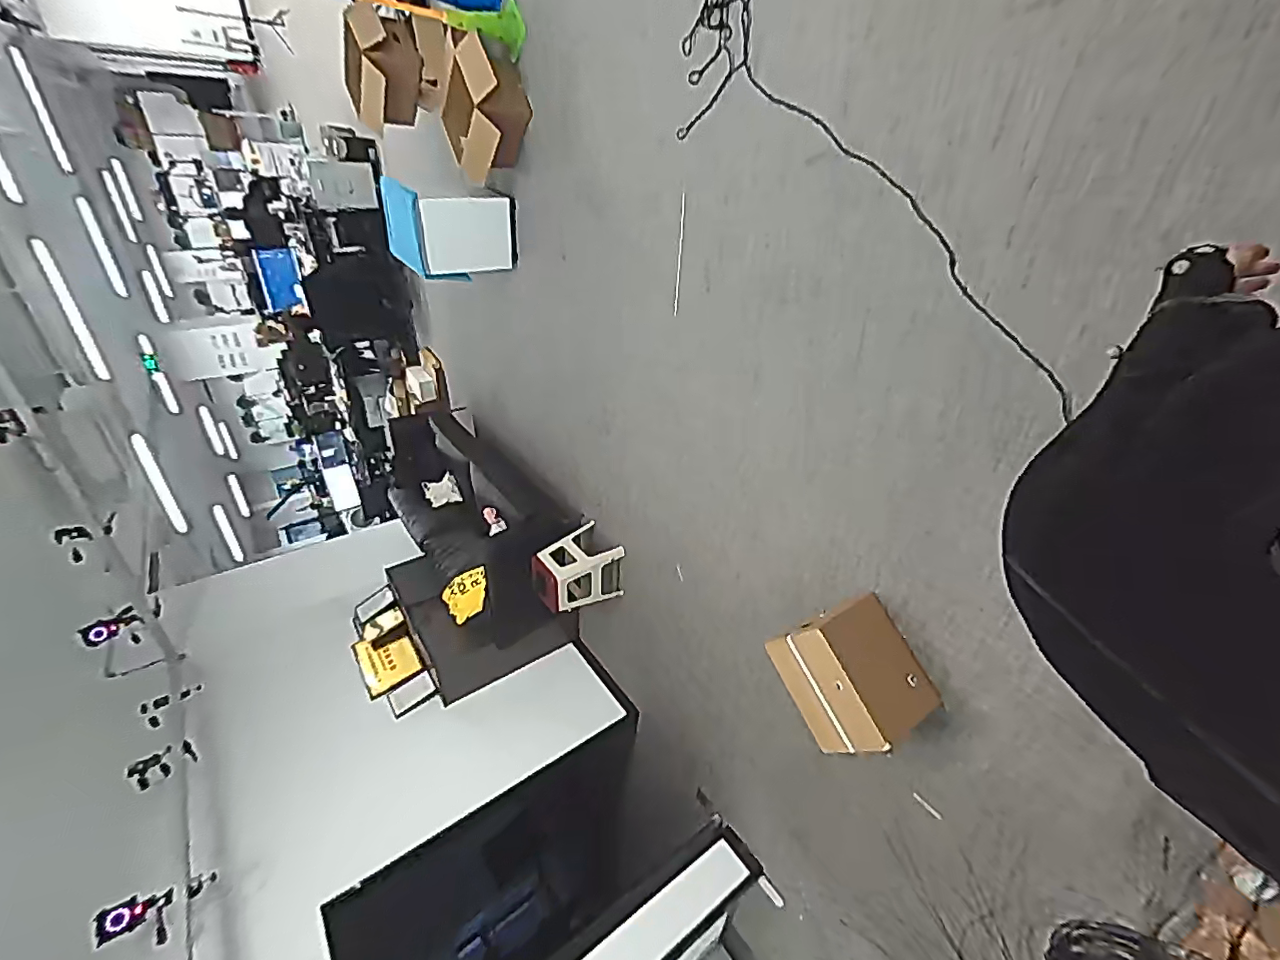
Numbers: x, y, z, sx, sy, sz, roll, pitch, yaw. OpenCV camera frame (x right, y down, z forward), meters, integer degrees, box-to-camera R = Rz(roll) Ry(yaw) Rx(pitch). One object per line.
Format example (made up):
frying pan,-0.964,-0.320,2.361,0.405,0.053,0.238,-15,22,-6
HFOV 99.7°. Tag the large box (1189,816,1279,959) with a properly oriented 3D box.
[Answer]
large box,1.388,0.979,1.050,0.408,0.320,0.320,21,124,49
